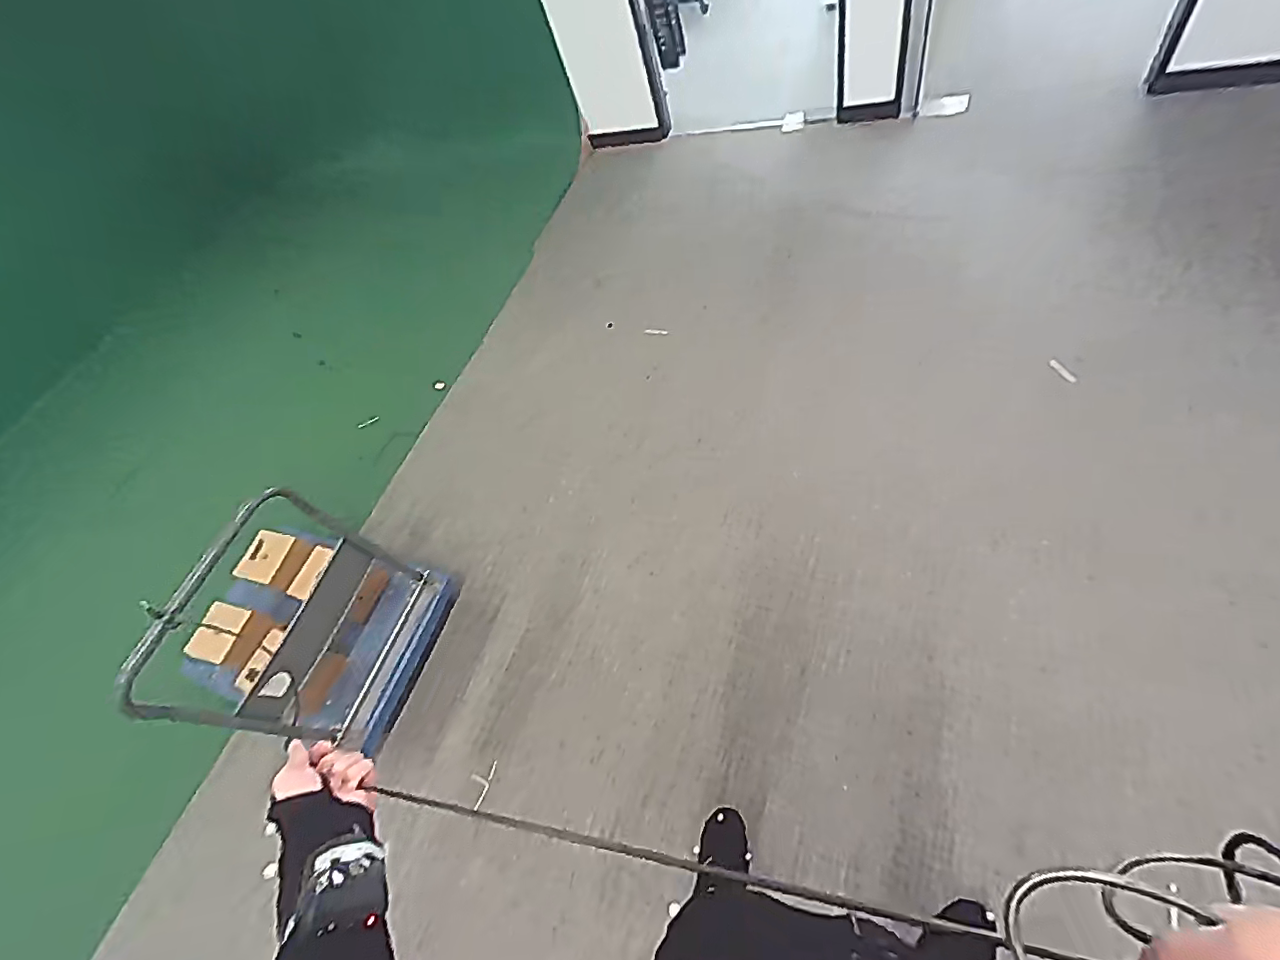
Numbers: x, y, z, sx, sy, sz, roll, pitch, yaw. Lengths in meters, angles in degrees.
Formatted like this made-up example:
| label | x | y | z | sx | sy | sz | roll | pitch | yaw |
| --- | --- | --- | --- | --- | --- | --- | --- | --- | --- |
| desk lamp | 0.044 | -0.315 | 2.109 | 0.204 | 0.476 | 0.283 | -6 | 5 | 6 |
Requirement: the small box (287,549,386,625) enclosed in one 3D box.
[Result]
| label | x | y | z | sx | sy | sz | roll | pitch | yaw |
| --- | --- | --- | --- | --- | --- | --- | --- | --- | --- |
| small box | -0.954 | 0.343 | 1.712 | 0.179 | 0.176 | 0.168 | 12 | 63 | 23 |

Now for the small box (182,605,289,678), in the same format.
| label | x | y | z | sx | sy | sz | roll | pitch | yaw |
| --- | --- | --- | --- | --- | --- | --- | --- | --- | --- |
| small box | -1.266 | 0.514 | 1.707 | 0.179 | 0.176 | 0.168 | 7 | 61 | 22 |

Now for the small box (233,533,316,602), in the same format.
| label | x | y | z | sx | sy | sz | roll | pitch | yaw |
| --- | --- | --- | --- | --- | --- | --- | --- | --- | --- |
| small box | -1.198 | 0.298 | 1.819 | 0.179 | 0.176 | 0.168 | 7 | 63 | 21 |
